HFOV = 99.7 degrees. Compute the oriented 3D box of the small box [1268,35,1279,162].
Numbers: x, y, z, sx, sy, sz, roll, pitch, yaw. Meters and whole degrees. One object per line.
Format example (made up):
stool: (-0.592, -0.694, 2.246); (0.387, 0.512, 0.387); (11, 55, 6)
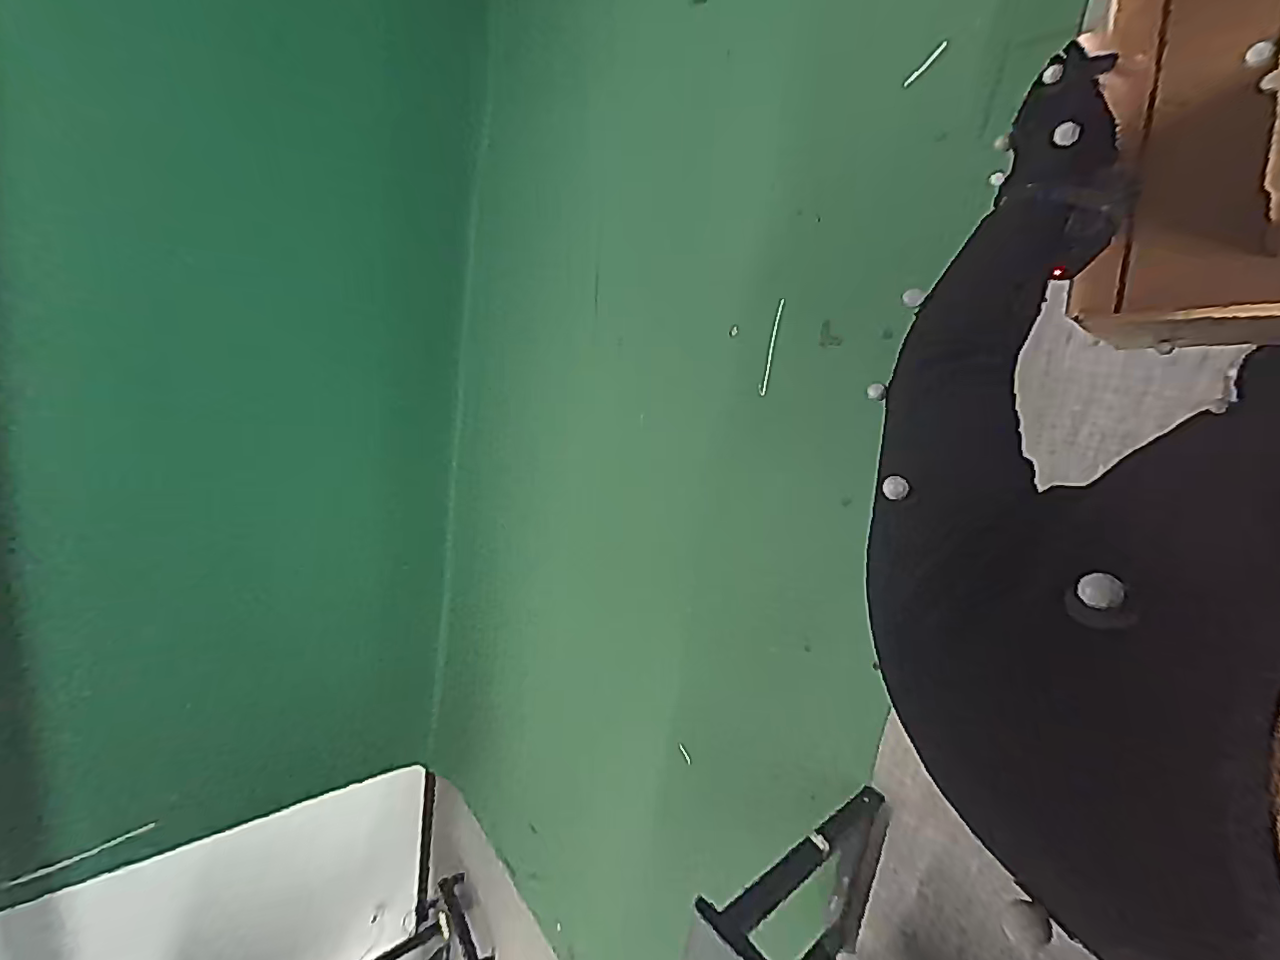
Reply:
small box: (0.417, -0.267, 0.232); (0.179, 0.176, 0.168); (10, 100, 46)
